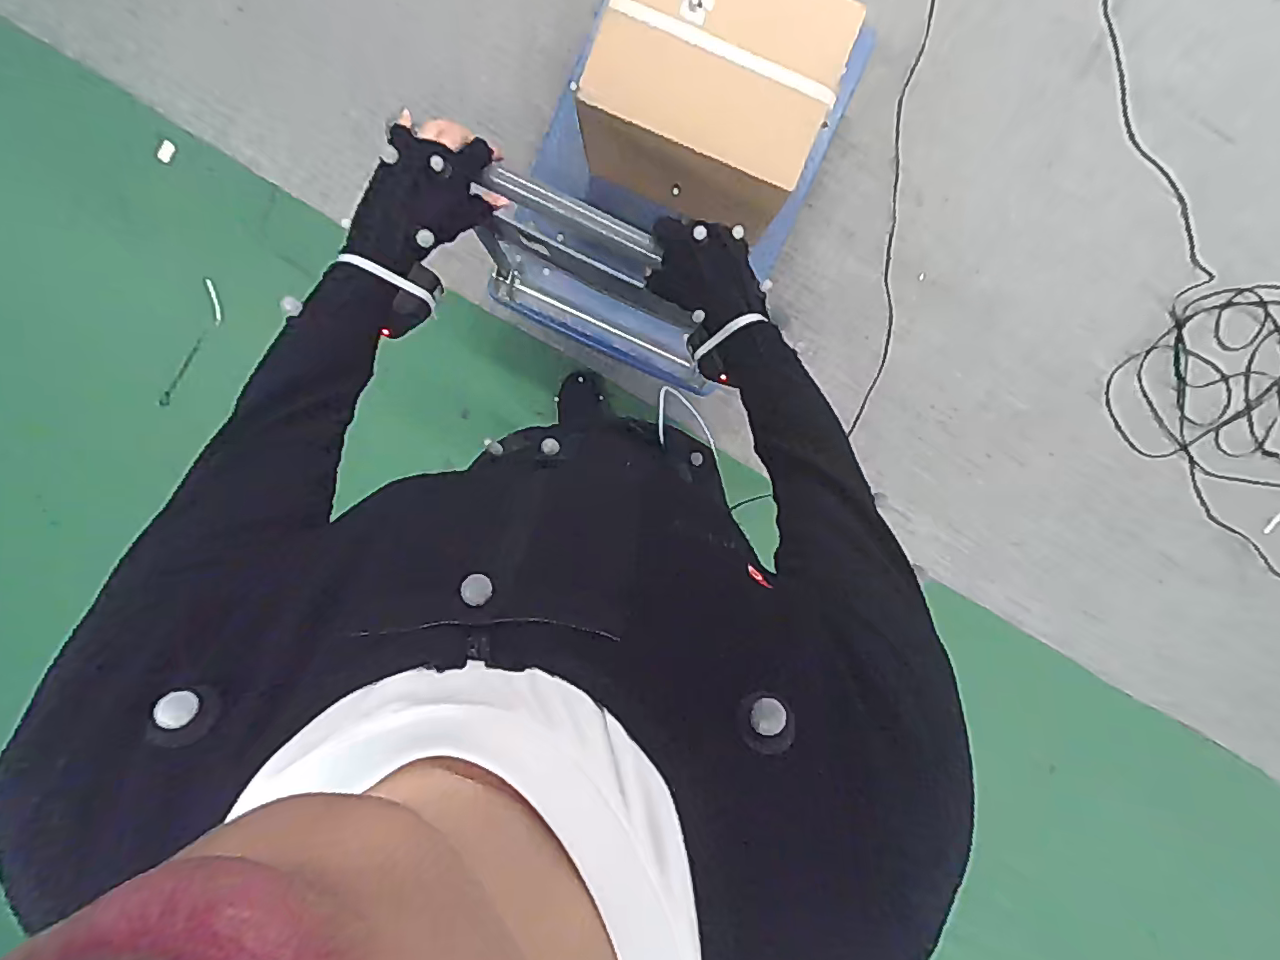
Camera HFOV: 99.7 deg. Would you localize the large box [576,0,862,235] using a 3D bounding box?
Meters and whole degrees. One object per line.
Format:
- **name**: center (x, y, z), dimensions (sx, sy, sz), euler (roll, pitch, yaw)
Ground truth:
- **large box**: center (0.131, -0.734, 1.045), dimensions (0.408, 0.320, 0.320), euler (22, 97, -3)
